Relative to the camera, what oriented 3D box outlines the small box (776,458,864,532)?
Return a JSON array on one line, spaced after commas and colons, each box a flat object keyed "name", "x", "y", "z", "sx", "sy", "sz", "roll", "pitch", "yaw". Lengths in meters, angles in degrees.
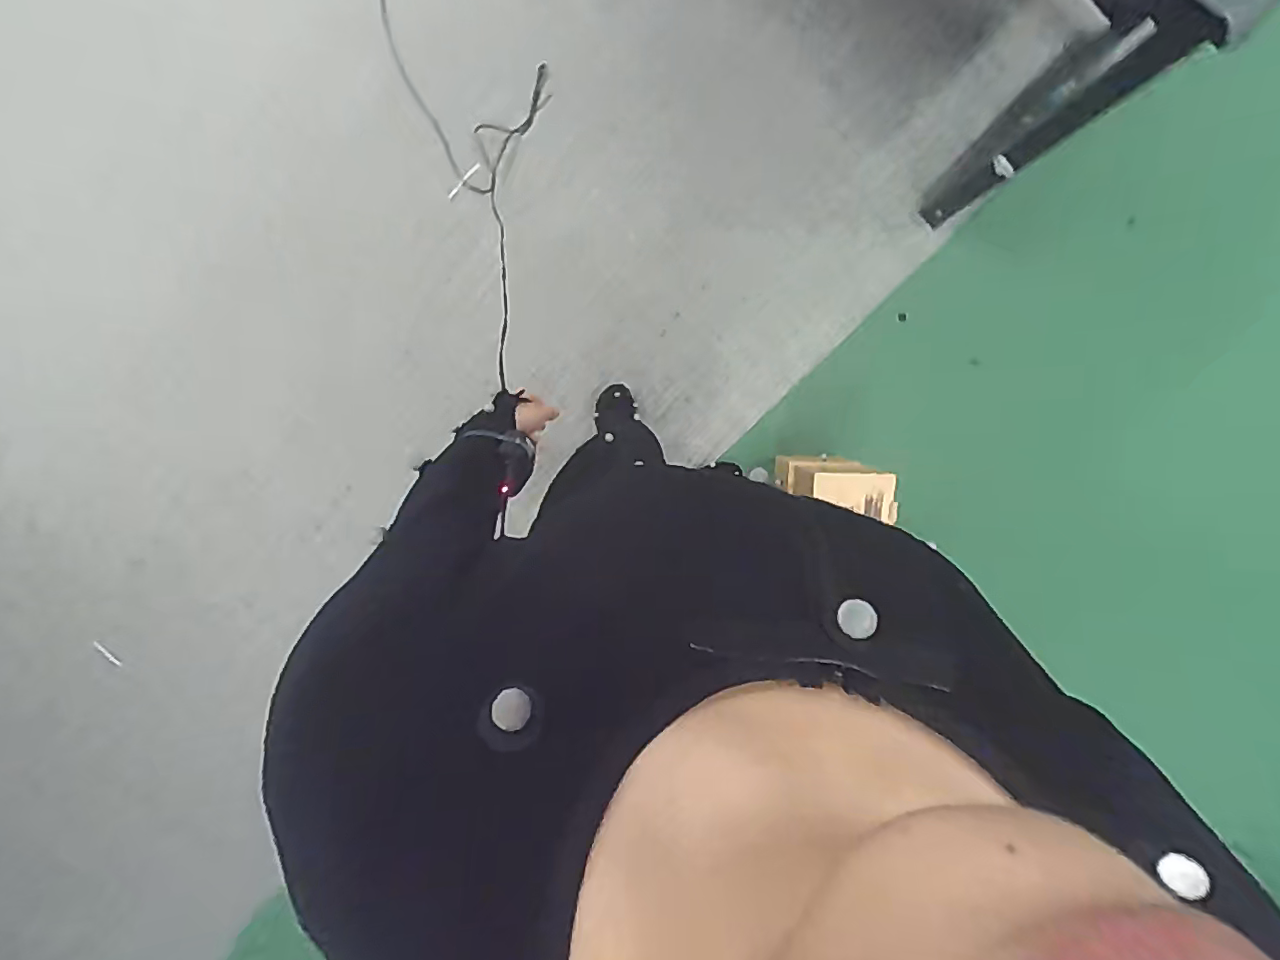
[{"name": "small box", "x": 0.452, "y": 0.034, "z": 1.384, "sx": 0.179, "sy": 0.176, "sz": 0.168, "roll": 1, "pitch": 97, "yaw": 2}]
